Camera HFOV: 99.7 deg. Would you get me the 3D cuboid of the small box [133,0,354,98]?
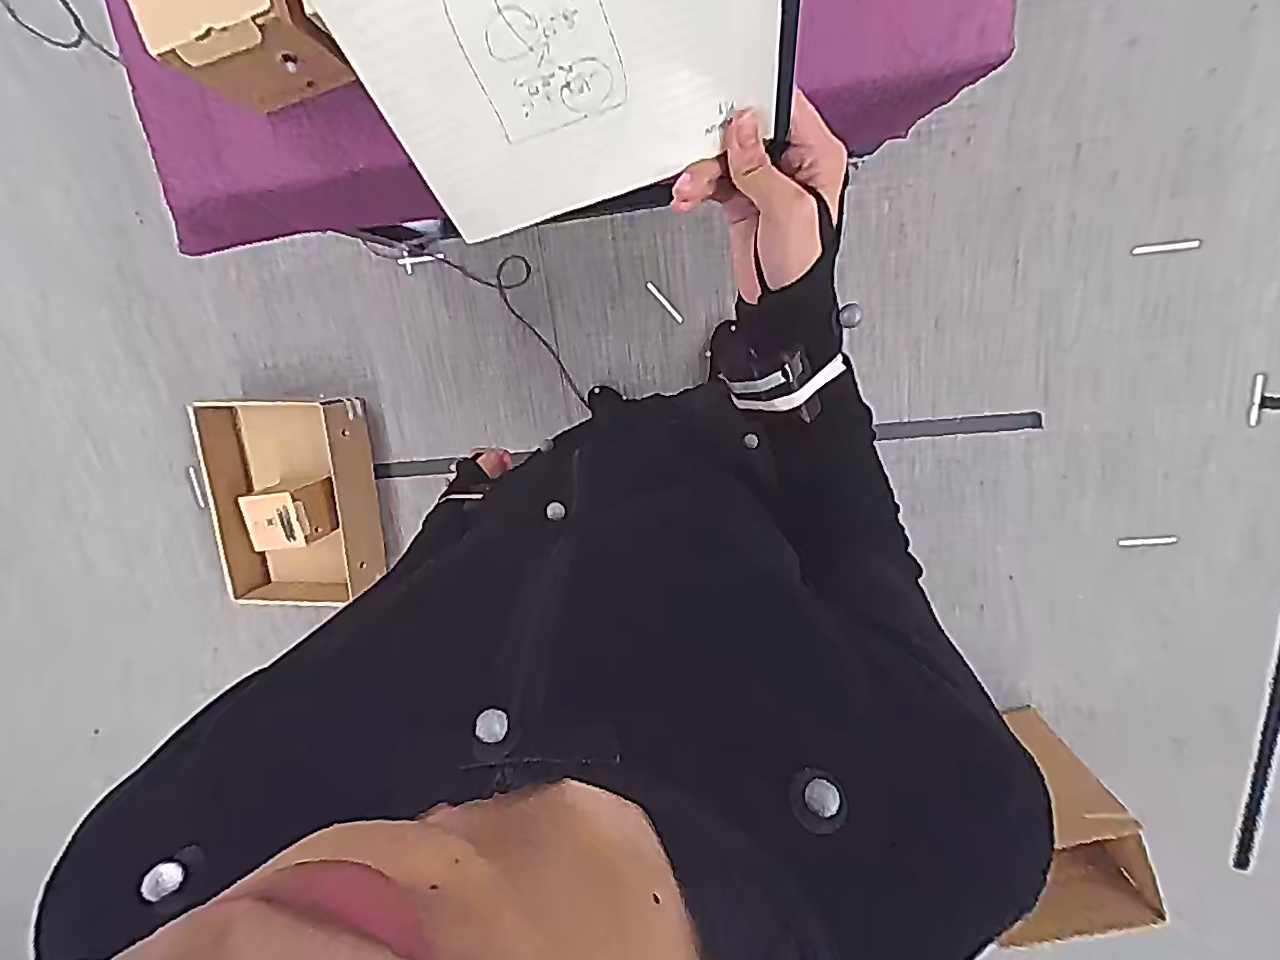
[{"bbox_3d":[-0.497,-0.613,0.673,0.168,0.176,0.179,-13,103,8],"label":"small box"}]
